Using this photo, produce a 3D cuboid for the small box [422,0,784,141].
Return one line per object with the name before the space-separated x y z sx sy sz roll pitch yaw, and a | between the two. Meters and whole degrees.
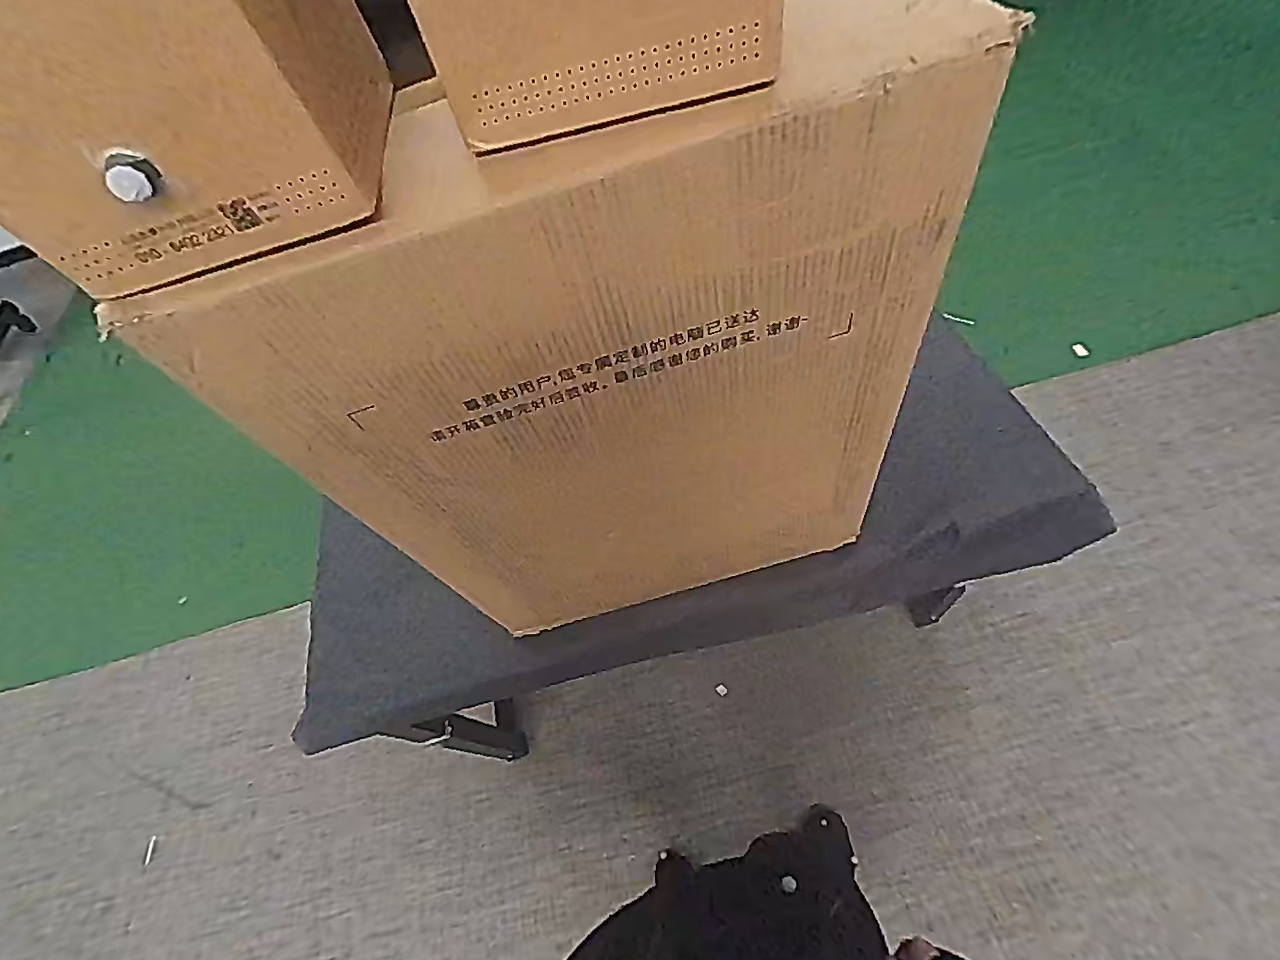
small box | -0.030 -0.306 0.271 0.179 0.176 0.168 -11 58 5
